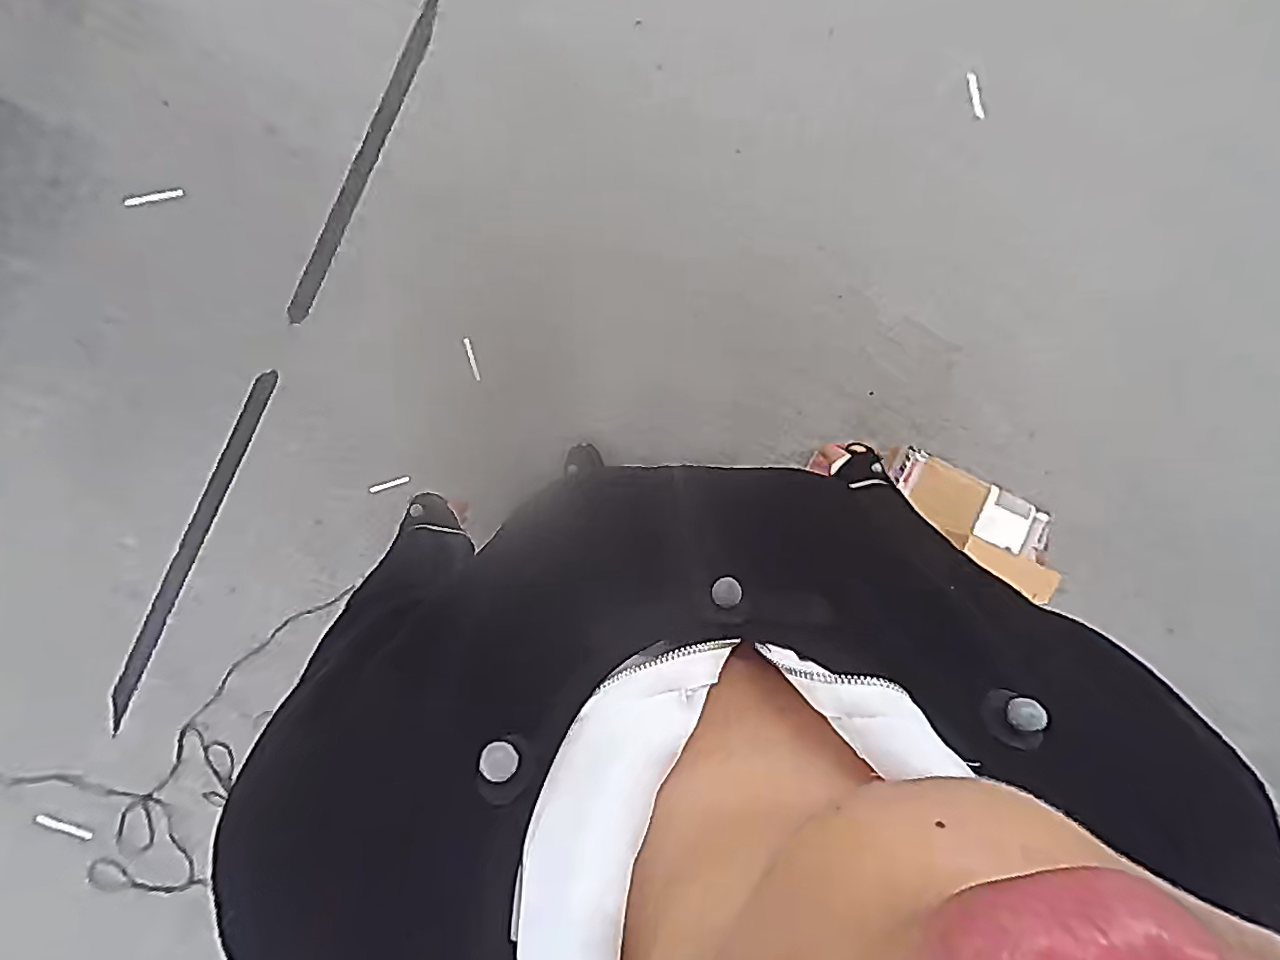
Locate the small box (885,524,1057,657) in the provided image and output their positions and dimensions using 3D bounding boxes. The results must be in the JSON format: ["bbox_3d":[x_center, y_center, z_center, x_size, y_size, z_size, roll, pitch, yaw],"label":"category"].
[{"bbox_3d":[0.591,0.190,0.988,0.179,0.176,0.168,24,90,-2],"label":"small box"}]
